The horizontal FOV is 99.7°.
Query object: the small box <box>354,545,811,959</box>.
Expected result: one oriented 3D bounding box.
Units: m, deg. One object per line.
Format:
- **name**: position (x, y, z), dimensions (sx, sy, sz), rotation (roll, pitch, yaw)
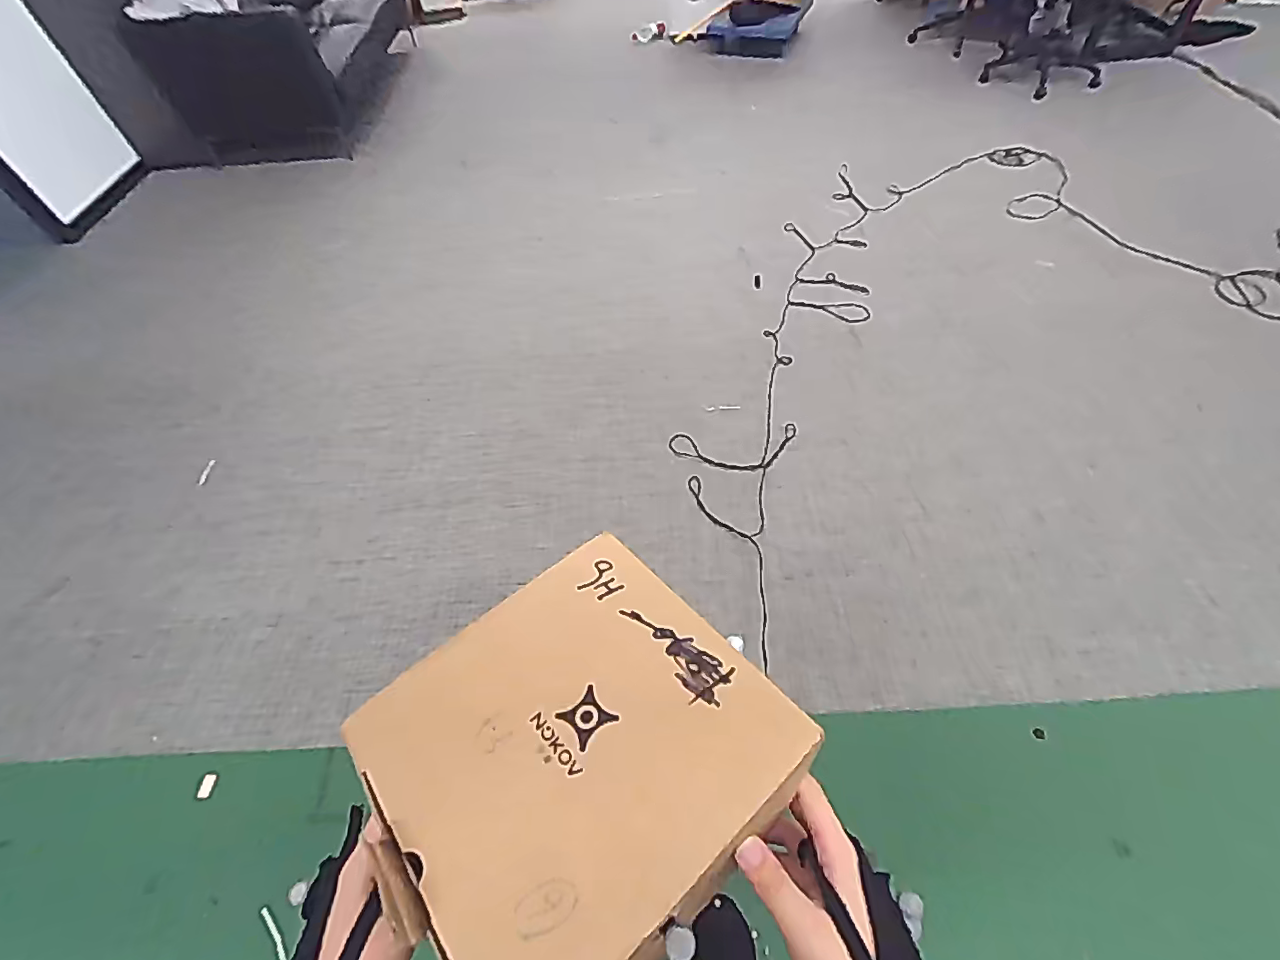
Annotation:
- **small box**: position (-0.024, 0.181, 0.325), dimensions (0.179, 0.176, 0.168), rotation (-36, 53, -23)
